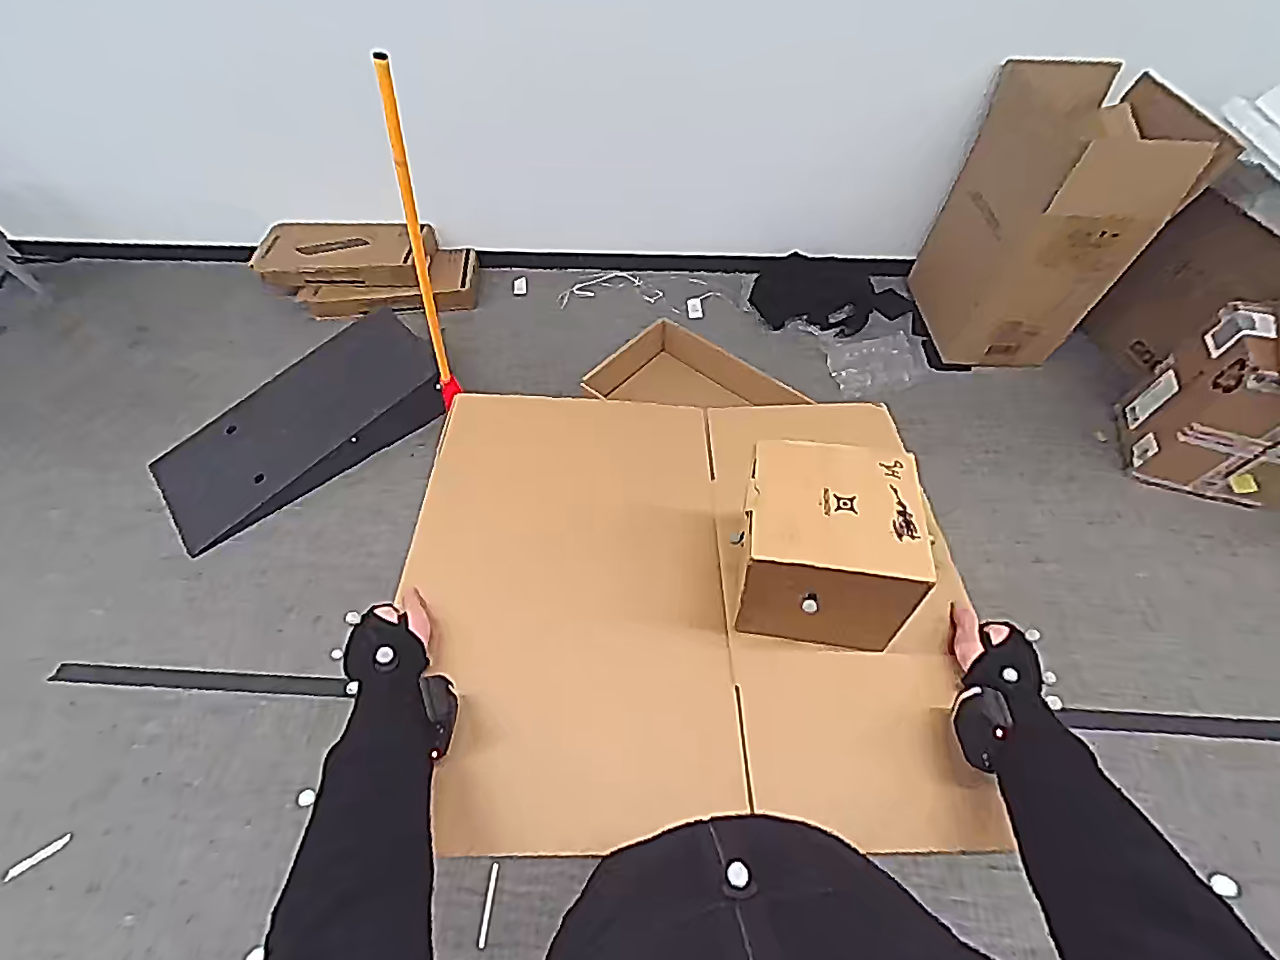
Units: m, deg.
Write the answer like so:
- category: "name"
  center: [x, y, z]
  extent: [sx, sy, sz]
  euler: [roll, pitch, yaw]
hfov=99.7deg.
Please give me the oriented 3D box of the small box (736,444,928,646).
- category: "small box"
  center: [0.209, 0.078, 0.634]
  extent: [0.179, 0.176, 0.168]
  euler: [6, 52, 9]
